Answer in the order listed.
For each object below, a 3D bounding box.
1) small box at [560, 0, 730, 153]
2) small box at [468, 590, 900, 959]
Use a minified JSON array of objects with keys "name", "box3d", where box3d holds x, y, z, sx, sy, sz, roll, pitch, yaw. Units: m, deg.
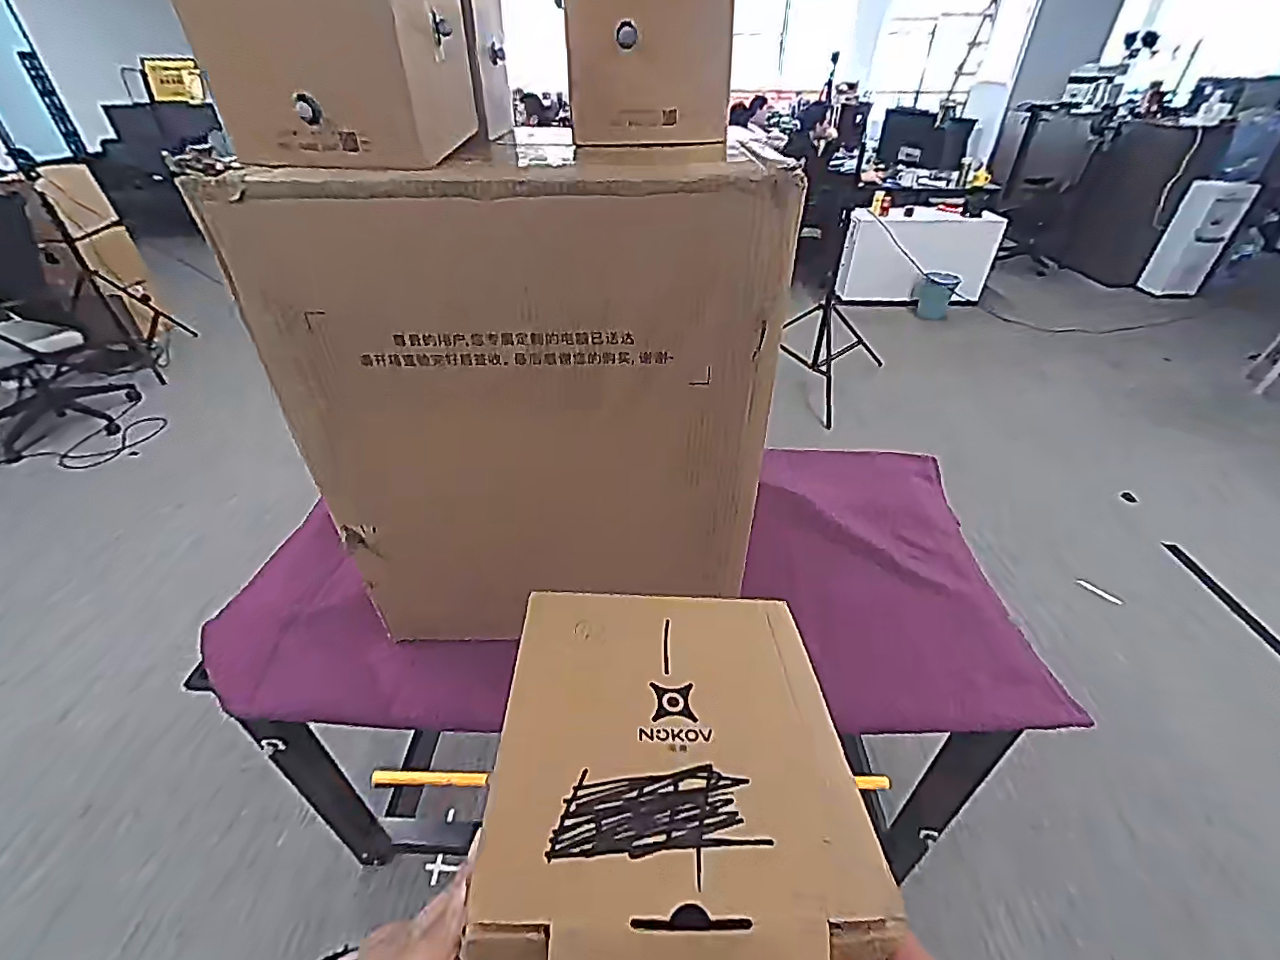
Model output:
[{"name":"small box","box3d":[0.007,-0.466,0.598,0.168,0.176,0.179,-2,36,0]},{"name":"small box","box3d":[0.012,0.186,0.310,0.168,0.176,0.179,3,31,-3]}]
